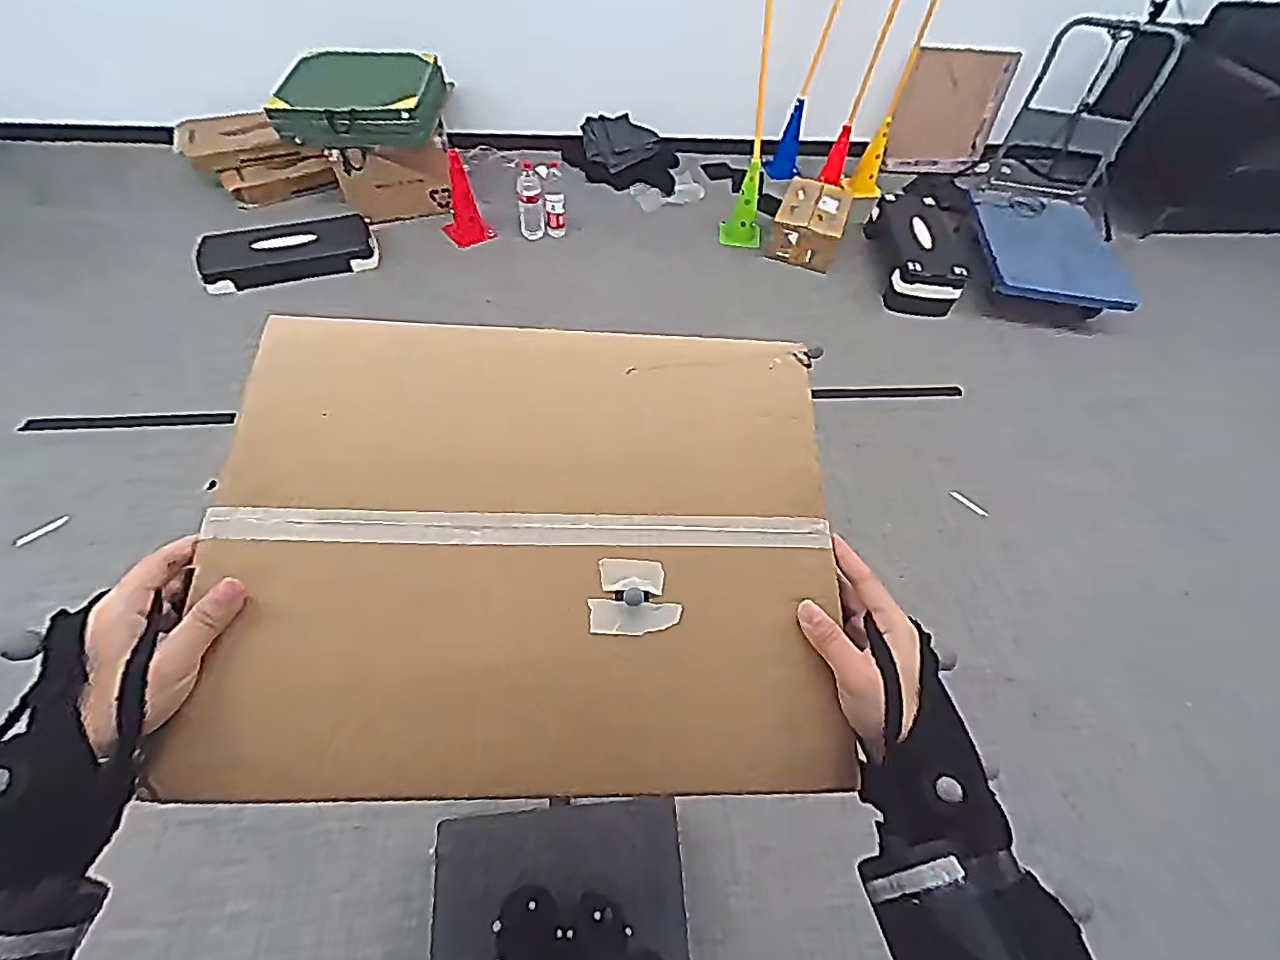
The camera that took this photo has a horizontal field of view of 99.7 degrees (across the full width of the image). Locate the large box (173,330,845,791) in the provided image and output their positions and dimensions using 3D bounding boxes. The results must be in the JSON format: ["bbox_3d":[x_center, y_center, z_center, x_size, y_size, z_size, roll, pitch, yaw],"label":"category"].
[{"bbox_3d":[-0.083,0.086,0.511,0.408,0.320,0.320,2,70,-5],"label":"large box"}]
